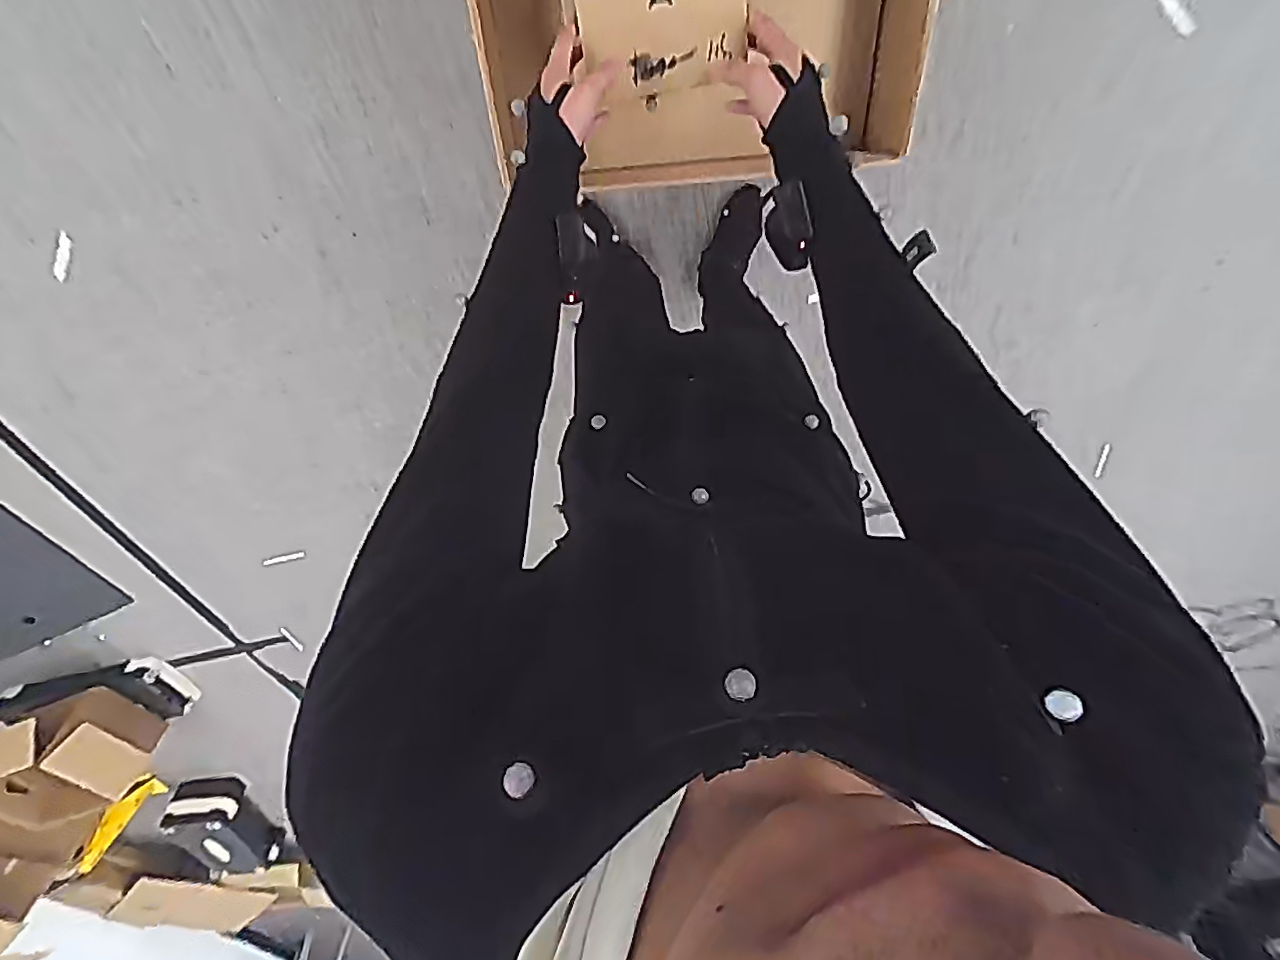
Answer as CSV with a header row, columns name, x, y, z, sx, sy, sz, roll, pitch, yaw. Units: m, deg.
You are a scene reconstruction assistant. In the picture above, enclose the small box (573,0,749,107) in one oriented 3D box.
name,x,y,z,sx,sy,sz,roll,pitch,yaw
small box,0.013,-0.509,0.567,0.168,0.176,0.179,-9,124,1
